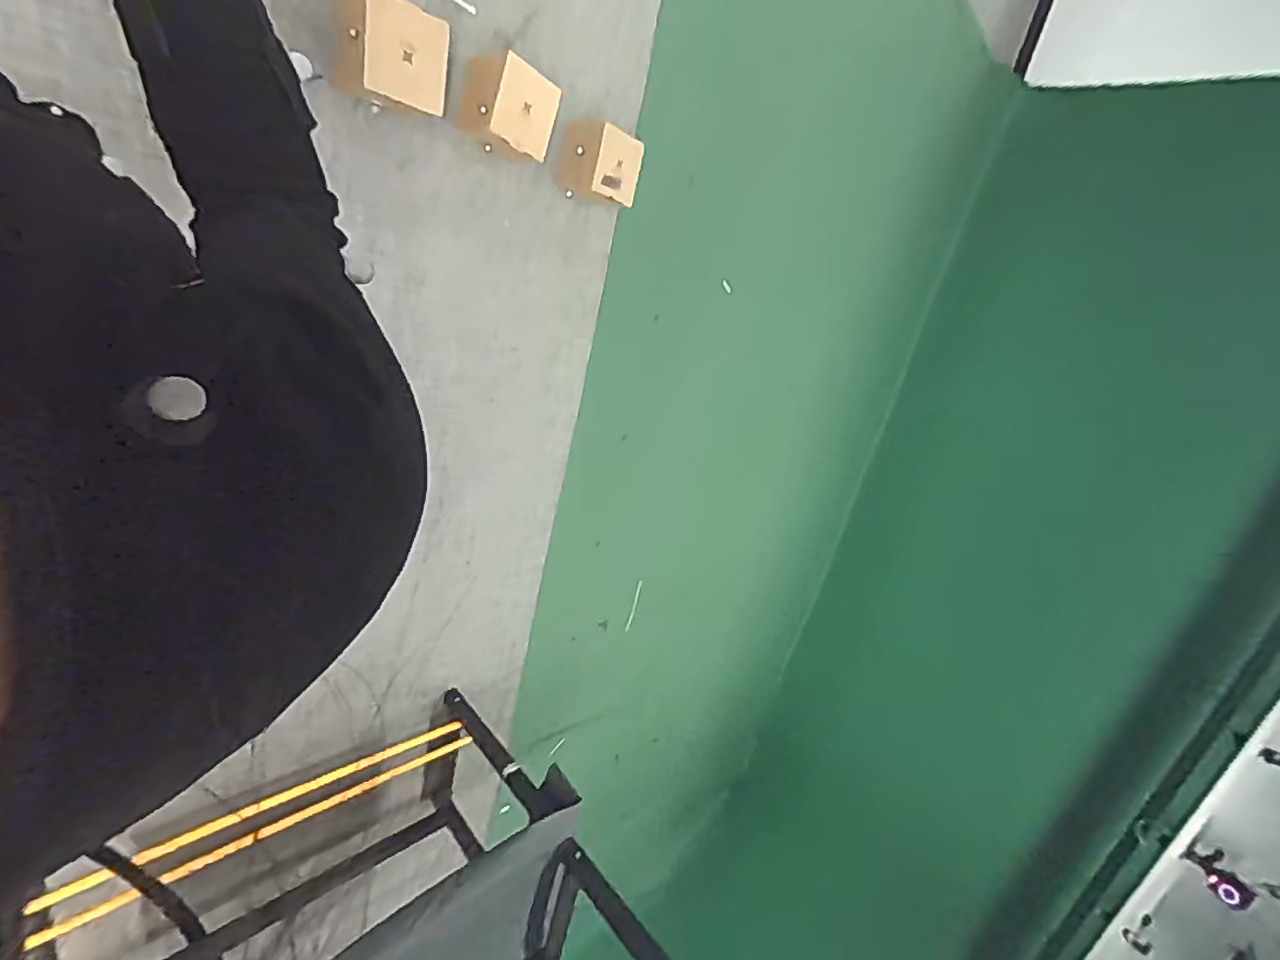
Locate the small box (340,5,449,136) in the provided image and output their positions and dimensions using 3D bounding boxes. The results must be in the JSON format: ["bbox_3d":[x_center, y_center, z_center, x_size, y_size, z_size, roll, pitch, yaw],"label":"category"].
[{"bbox_3d":[-0.533,-0.867,1.166,0.168,0.176,0.179,-8,119,-44],"label":"small box"}]

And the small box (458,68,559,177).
[{"bbox_3d":[-0.338,-0.897,1.372,0.168,0.176,0.179,3,109,-49],"label":"small box"}]

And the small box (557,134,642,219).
[{"bbox_3d":[-0.126,-0.899,1.610,0.168,0.176,0.179,-4,113,-48],"label":"small box"}]
